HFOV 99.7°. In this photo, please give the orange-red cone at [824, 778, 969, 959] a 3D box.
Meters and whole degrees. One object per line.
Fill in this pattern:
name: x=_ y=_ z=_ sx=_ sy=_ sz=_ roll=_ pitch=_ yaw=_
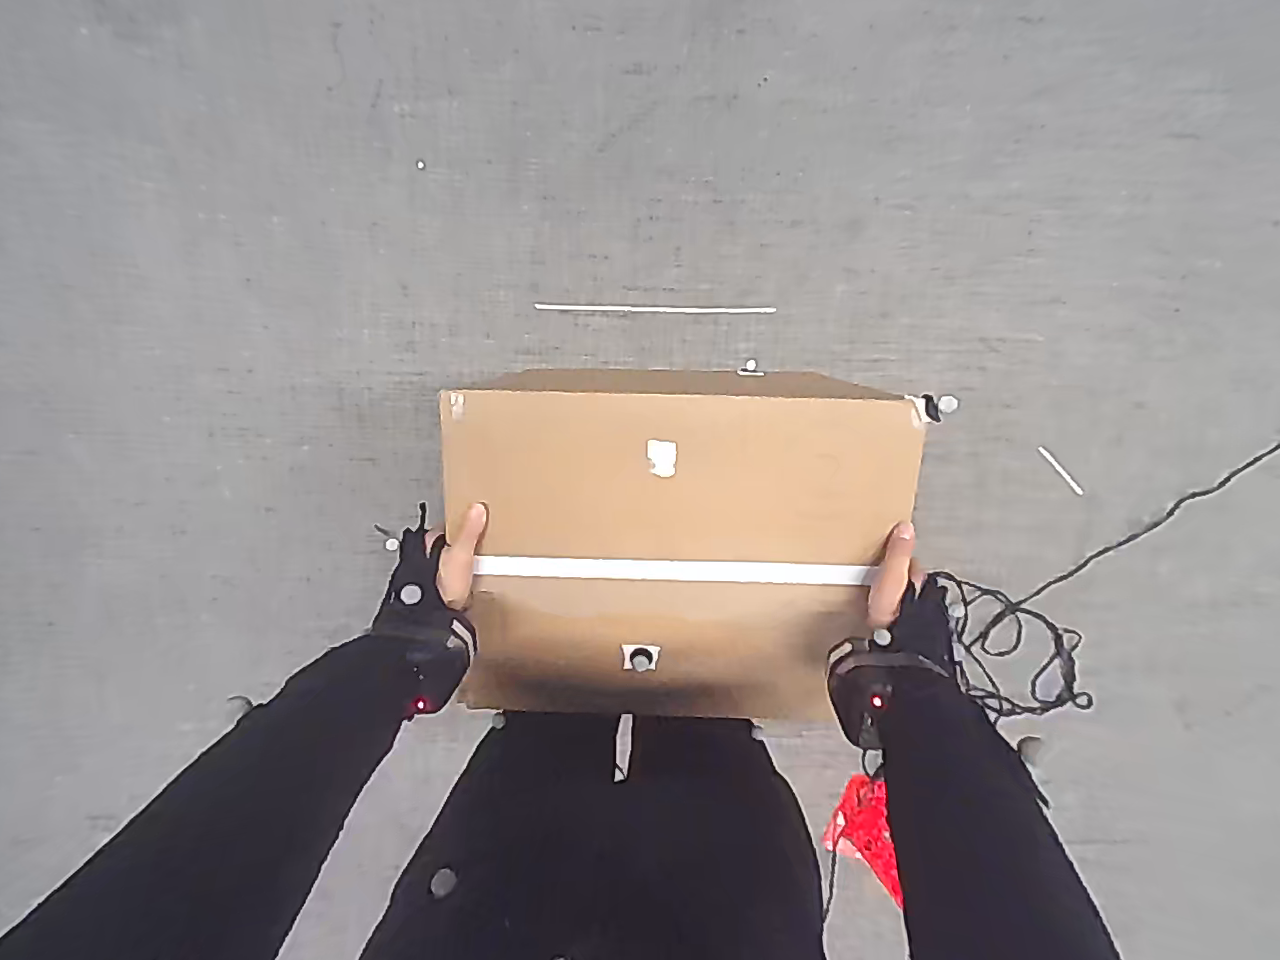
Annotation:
orange-red cone: x=0.539 y=0.805 z=1.054 sx=0.199 sy=0.360 sz=0.198 roll=21 pitch=98 yaw=-4
